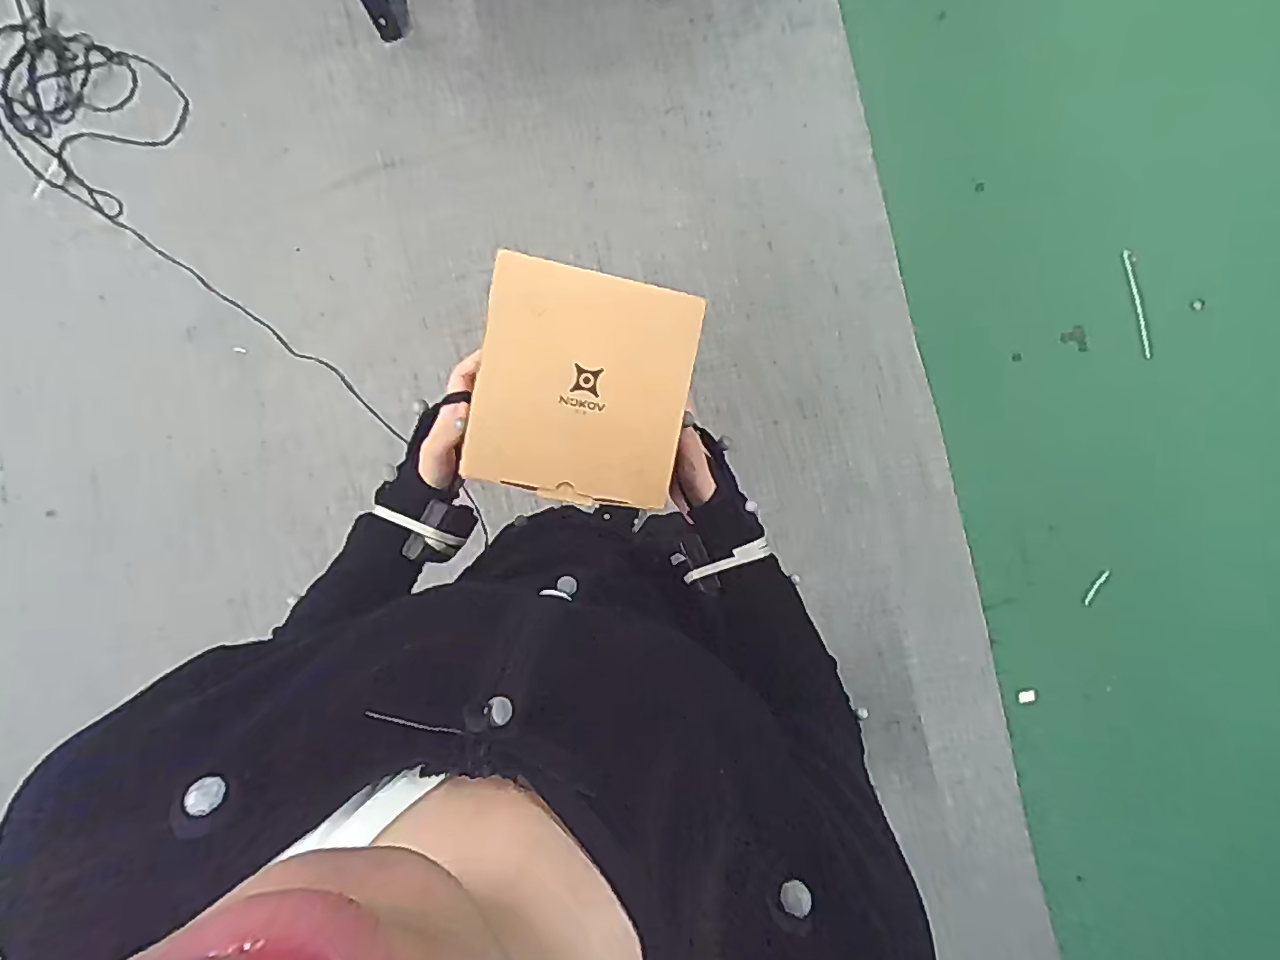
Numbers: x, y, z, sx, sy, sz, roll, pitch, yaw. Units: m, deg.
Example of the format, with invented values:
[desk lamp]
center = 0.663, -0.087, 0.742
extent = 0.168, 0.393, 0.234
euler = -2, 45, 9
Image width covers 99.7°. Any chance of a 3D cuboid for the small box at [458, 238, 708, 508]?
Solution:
[small box]
center = -0.054, -0.083, 0.483
extent = 0.168, 0.176, 0.179
euler = 9, 94, -10
